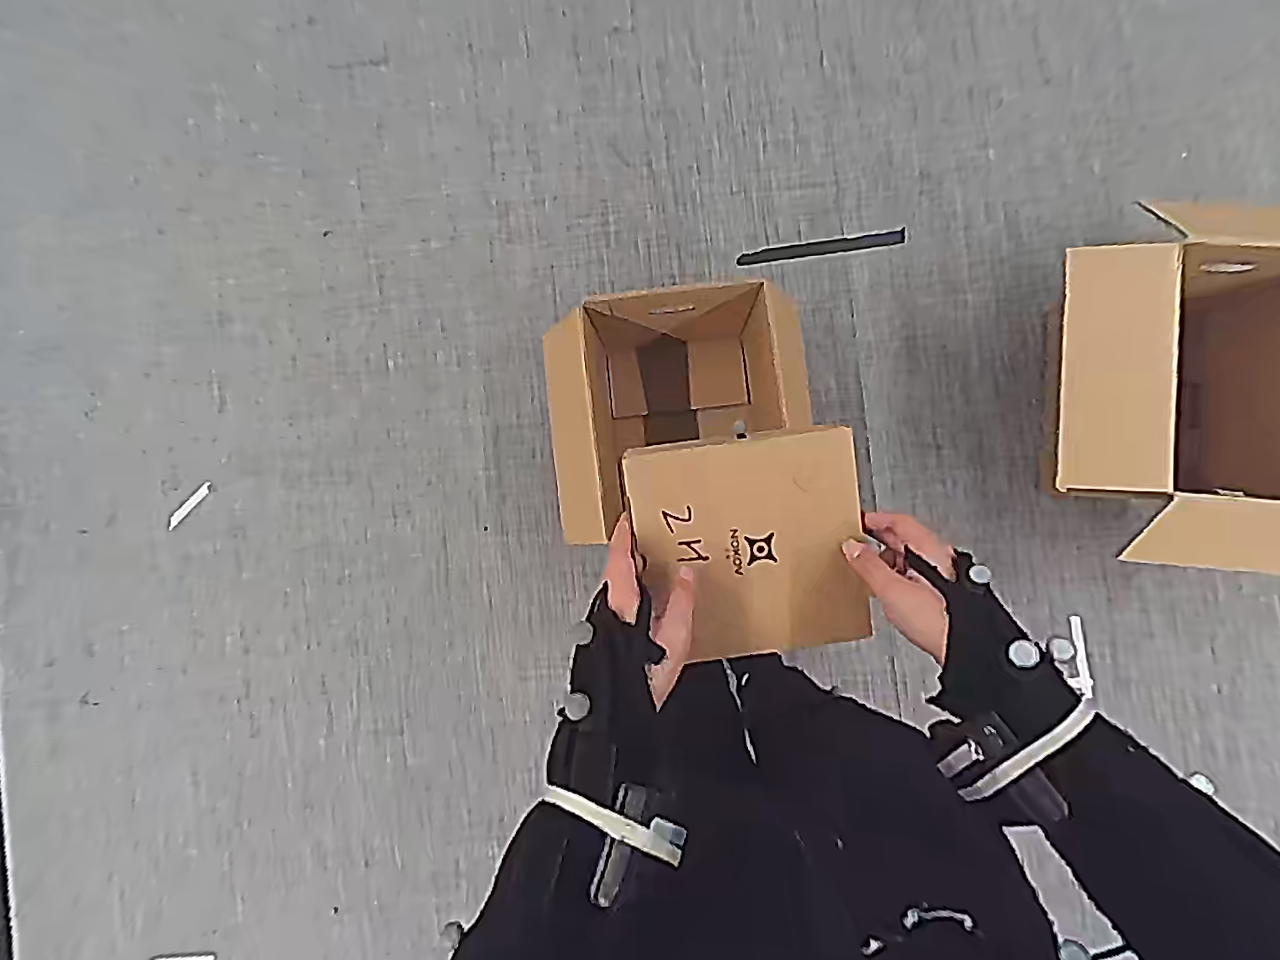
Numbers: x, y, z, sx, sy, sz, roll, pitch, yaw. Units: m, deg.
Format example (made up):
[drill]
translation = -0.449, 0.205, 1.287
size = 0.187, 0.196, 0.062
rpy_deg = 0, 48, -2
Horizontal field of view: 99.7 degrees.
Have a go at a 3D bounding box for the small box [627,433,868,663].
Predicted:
[small box]
translation = 0.083, 0.047, 0.495
size = 0.179, 0.176, 0.168
rpy_deg = -7, 95, 1
